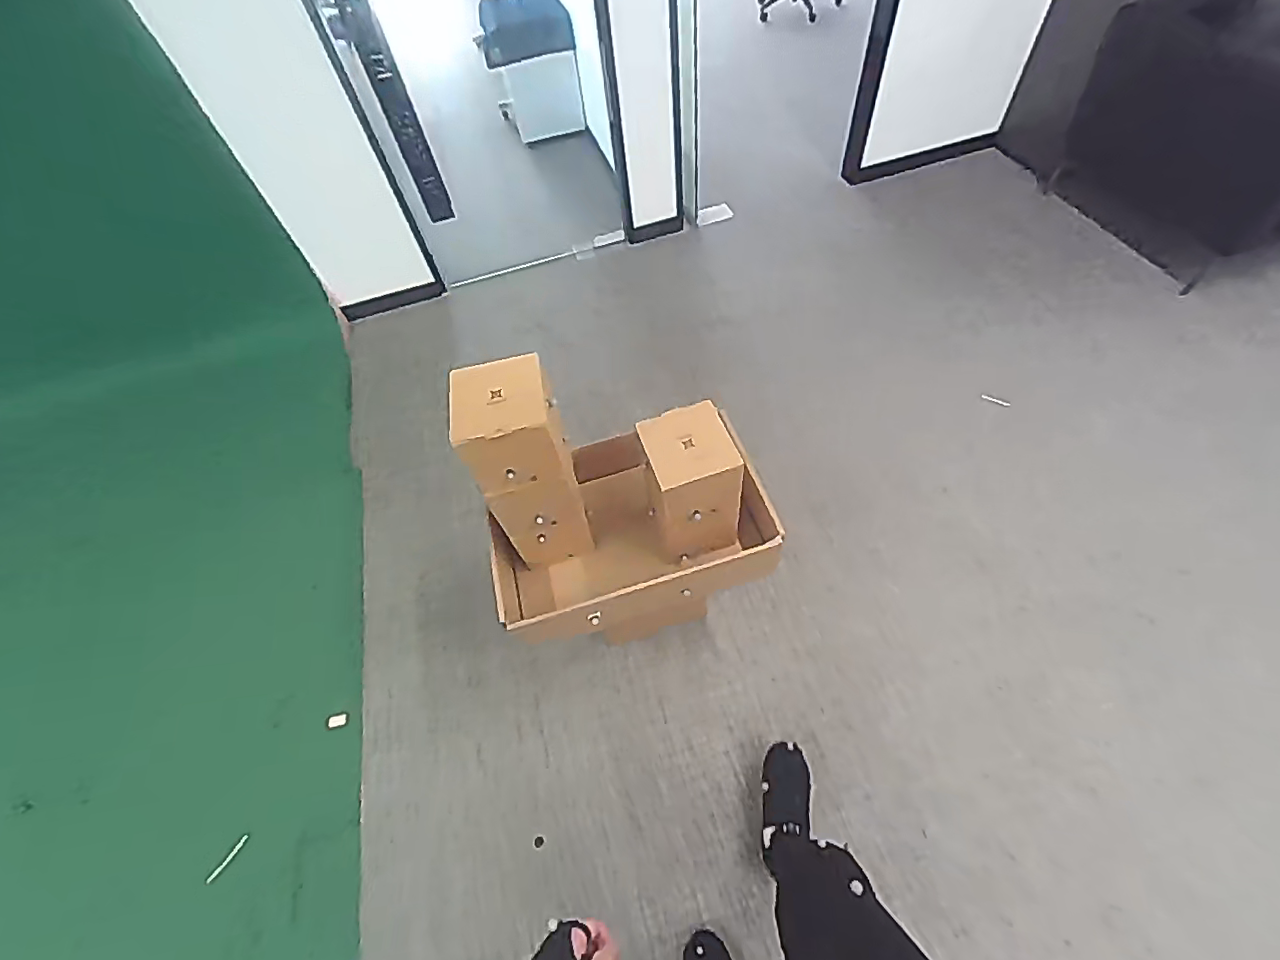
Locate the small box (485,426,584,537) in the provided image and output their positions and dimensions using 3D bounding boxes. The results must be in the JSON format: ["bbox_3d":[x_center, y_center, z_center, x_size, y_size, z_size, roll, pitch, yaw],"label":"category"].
[{"bbox_3d":[-0.222,-0.006,1.139,0.168,0.176,0.179,-14,56,-2],"label":"small box"}]

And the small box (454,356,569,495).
[{"bbox_3d":[-0.234,-0.098,1.006,0.168,0.176,0.179,-12,56,-2],"label":"small box"}]

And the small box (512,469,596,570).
[{"bbox_3d":[-0.208,0.086,1.274,0.168,0.176,0.179,-15,56,-4],"label":"small box"}]

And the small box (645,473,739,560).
[{"bbox_3d":[0.120,0.068,1.246,0.168,0.176,0.179,-16,55,-5],"label":"small box"}]

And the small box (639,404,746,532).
[{"bbox_3d":[0.104,-0.022,1.111,0.168,0.176,0.179,-17,56,-5],"label":"small box"}]
